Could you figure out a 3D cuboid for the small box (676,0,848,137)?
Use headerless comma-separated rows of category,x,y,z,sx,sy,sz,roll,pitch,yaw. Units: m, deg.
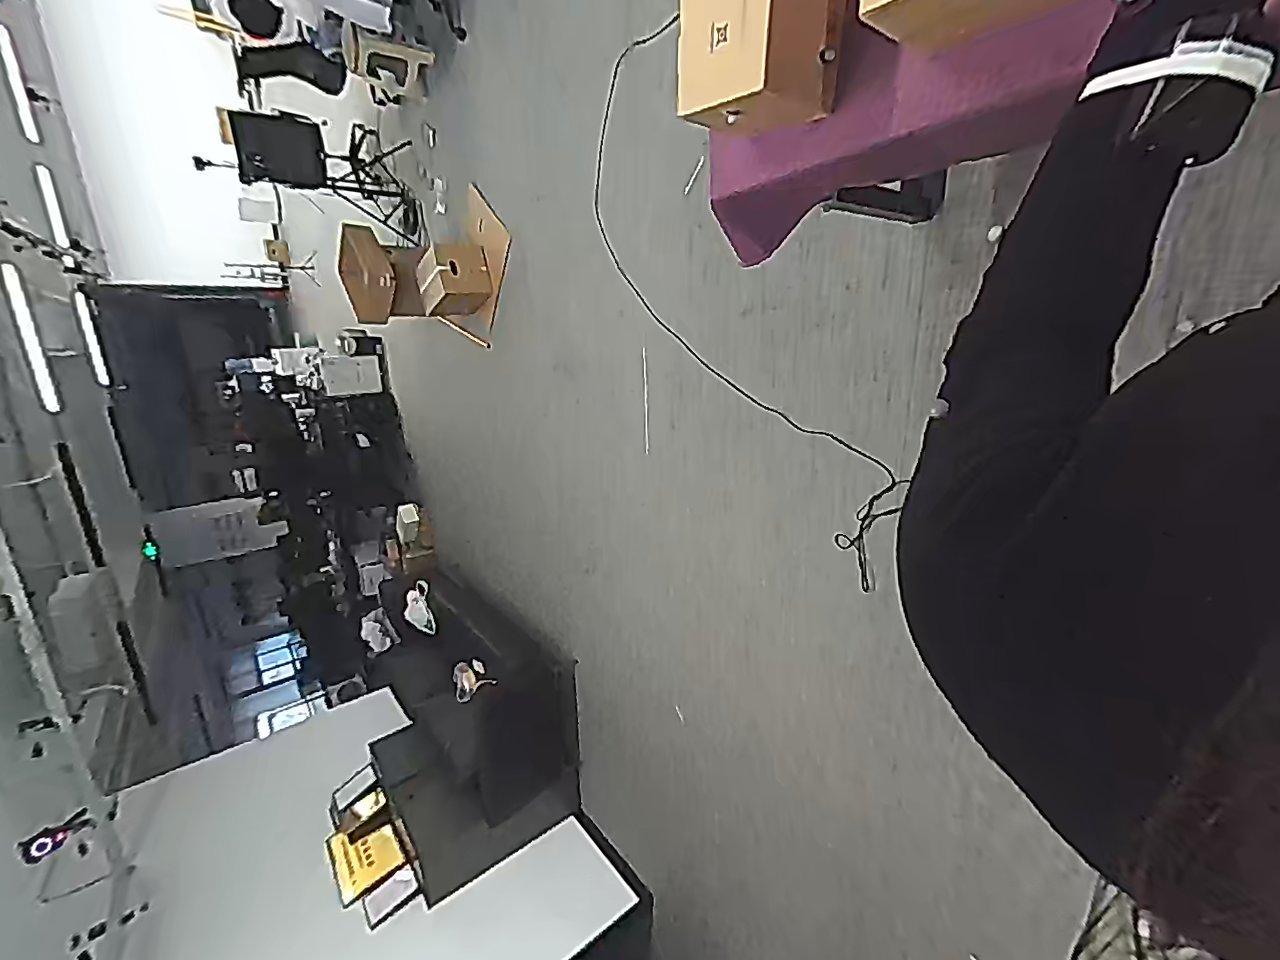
small box,0.177,-0.633,0.807,0.179,0.176,0.168,24,119,47

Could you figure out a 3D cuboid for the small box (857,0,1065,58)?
small box,0.362,-0.593,0.573,0.179,0.176,0.168,18,114,49
